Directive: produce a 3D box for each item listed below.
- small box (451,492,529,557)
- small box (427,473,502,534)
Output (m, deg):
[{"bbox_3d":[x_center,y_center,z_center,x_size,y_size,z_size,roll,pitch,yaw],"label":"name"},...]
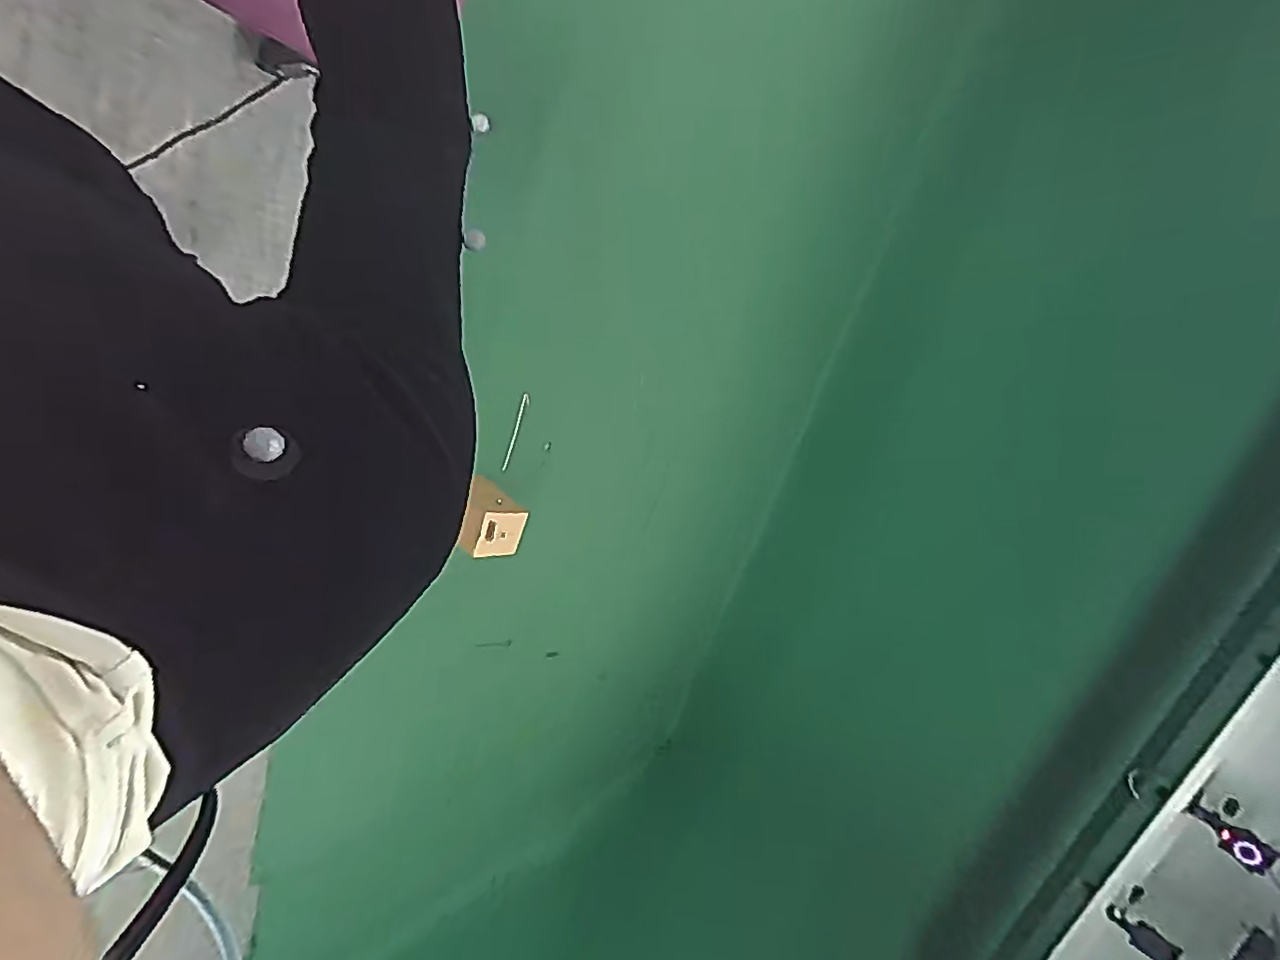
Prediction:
[{"bbox_3d":[-0.519,0.150,1.850,0.179,0.176,0.168,4,112,-51],"label":"small box"},{"bbox_3d":[-0.634,0.081,1.946,0.179,0.176,0.168,3,112,-50],"label":"small box"}]
